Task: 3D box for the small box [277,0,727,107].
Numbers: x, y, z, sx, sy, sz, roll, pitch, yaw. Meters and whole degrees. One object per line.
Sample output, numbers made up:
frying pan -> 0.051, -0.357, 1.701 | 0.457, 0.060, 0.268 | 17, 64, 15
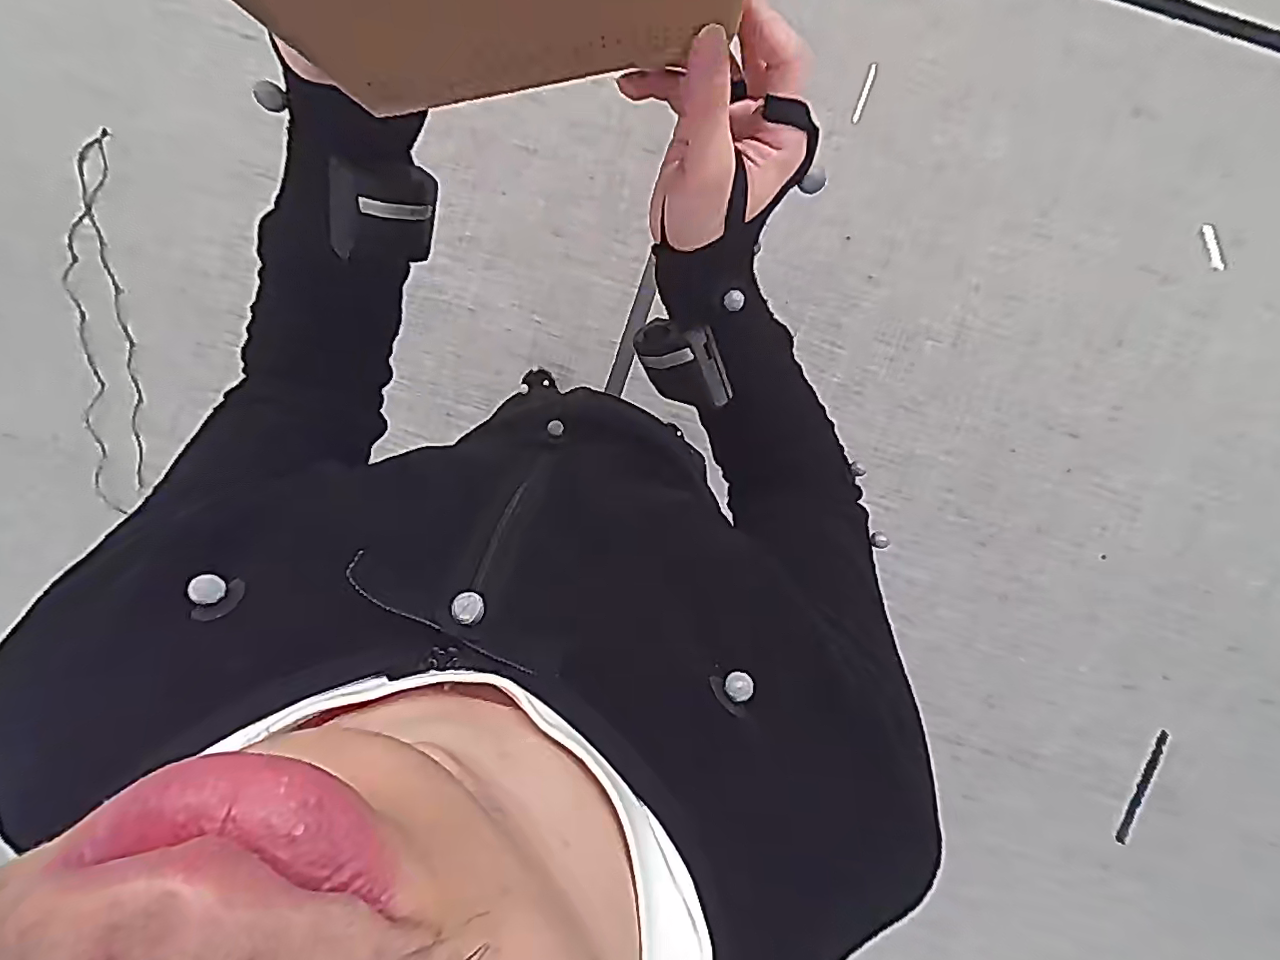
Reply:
small box -> -0.058, -0.252, 0.171 | 0.179, 0.176, 0.168 | -8, 103, 4
